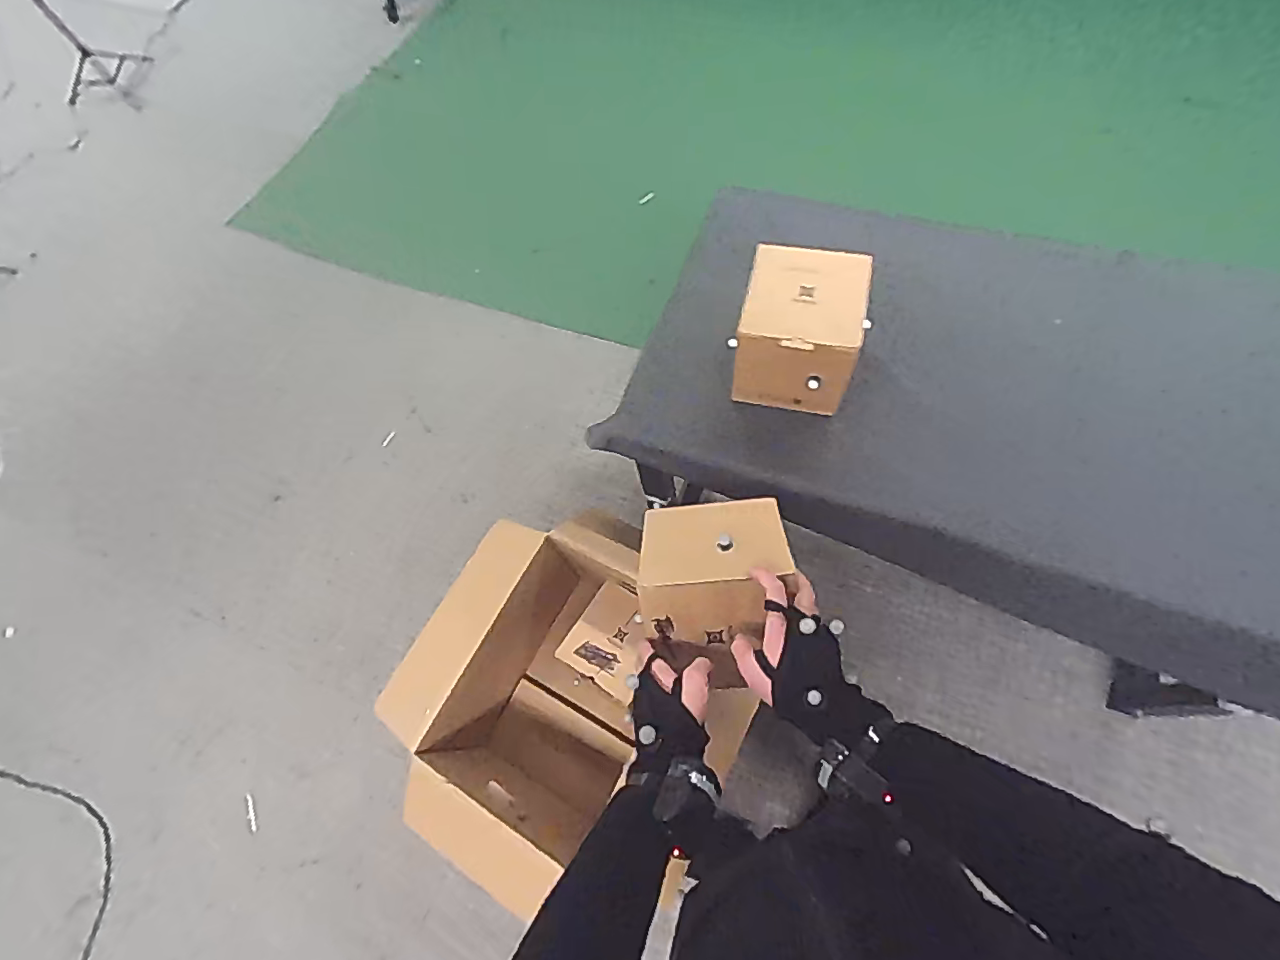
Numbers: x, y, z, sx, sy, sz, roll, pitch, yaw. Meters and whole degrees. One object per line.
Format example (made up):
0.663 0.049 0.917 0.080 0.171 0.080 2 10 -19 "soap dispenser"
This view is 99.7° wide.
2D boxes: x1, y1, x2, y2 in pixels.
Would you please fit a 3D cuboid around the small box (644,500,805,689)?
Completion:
0.103 0.138 0.689 0.179 0.168 0.176 -6 26 7 "small box"

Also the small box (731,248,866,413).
0.238 -0.226 0.839 0.168 0.176 0.179 11 65 10 "small box"
